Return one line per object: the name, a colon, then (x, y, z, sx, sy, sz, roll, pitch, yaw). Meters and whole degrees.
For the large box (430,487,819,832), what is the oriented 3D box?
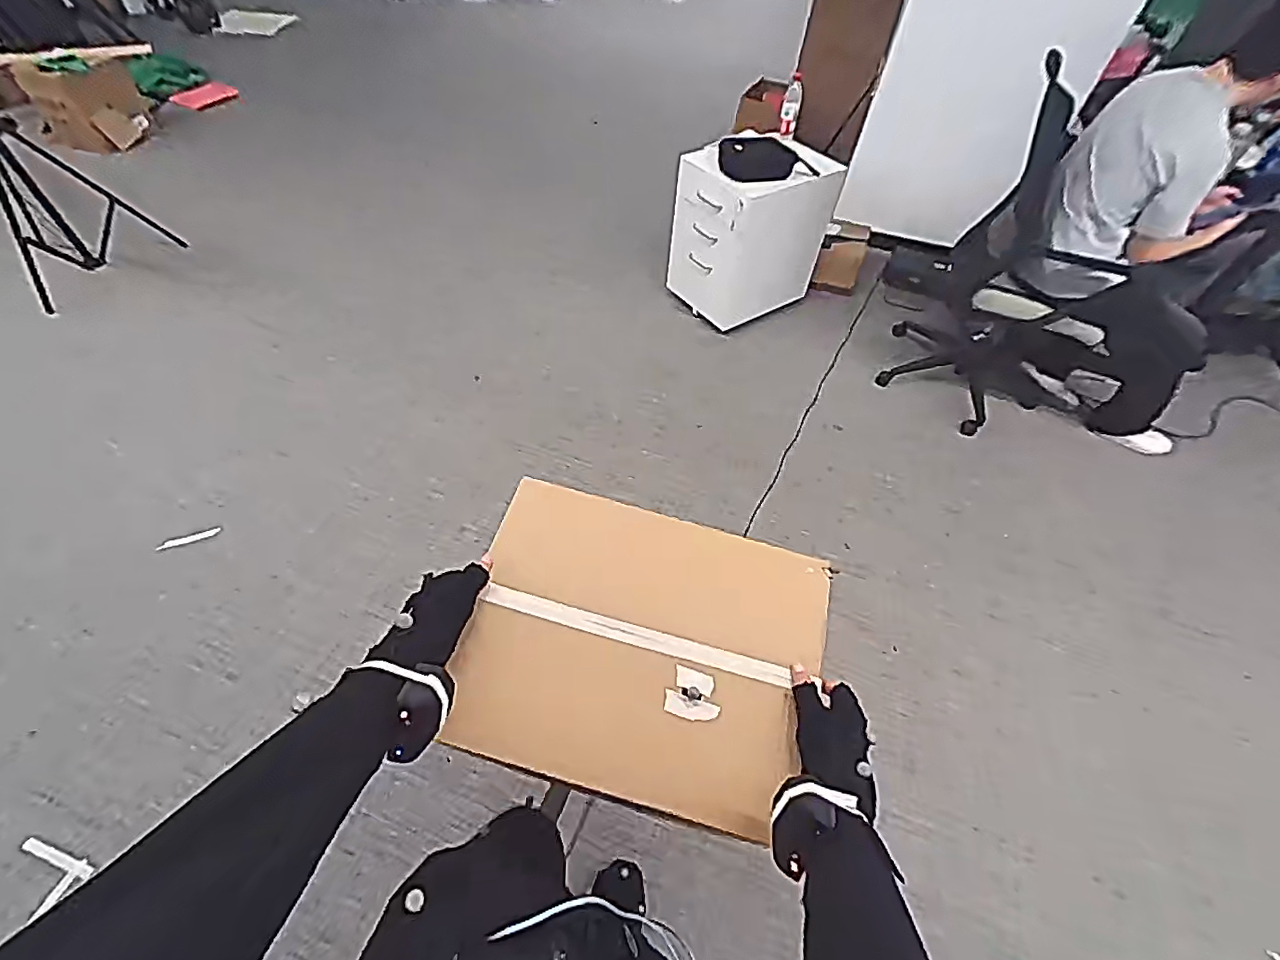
large box: (-0.011, 0.256, 0.757, 0.408, 0.320, 0.320, 15, 61, 2)
